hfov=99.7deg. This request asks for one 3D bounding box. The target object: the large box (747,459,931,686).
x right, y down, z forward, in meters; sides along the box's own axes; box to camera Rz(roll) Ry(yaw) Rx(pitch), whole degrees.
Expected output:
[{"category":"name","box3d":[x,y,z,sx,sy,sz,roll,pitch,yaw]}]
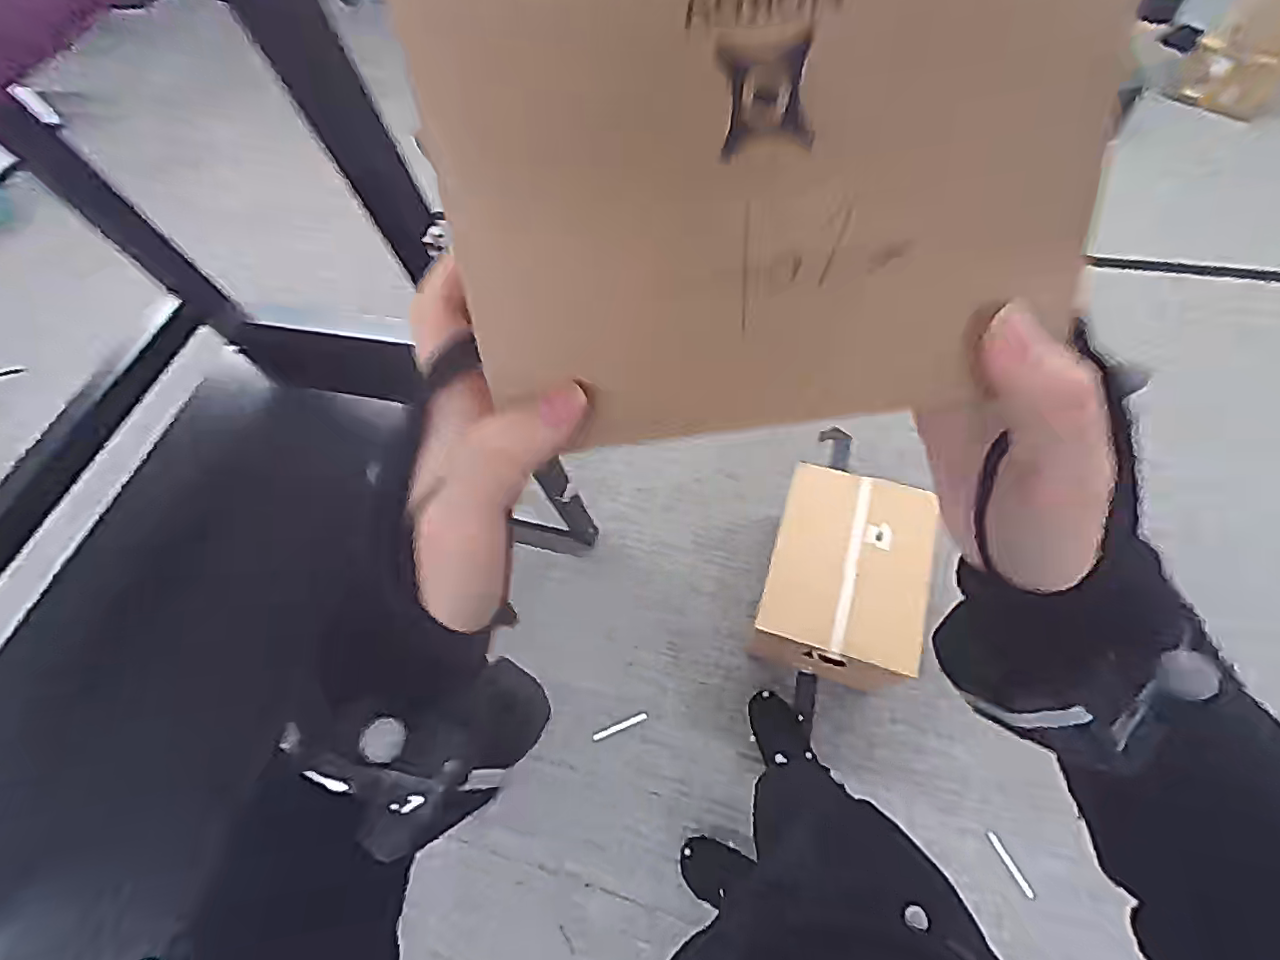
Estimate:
[{"category":"large box","box3d":[0.449,0.224,1.268,0.320,0.320,0.408,15,66,13]}]
